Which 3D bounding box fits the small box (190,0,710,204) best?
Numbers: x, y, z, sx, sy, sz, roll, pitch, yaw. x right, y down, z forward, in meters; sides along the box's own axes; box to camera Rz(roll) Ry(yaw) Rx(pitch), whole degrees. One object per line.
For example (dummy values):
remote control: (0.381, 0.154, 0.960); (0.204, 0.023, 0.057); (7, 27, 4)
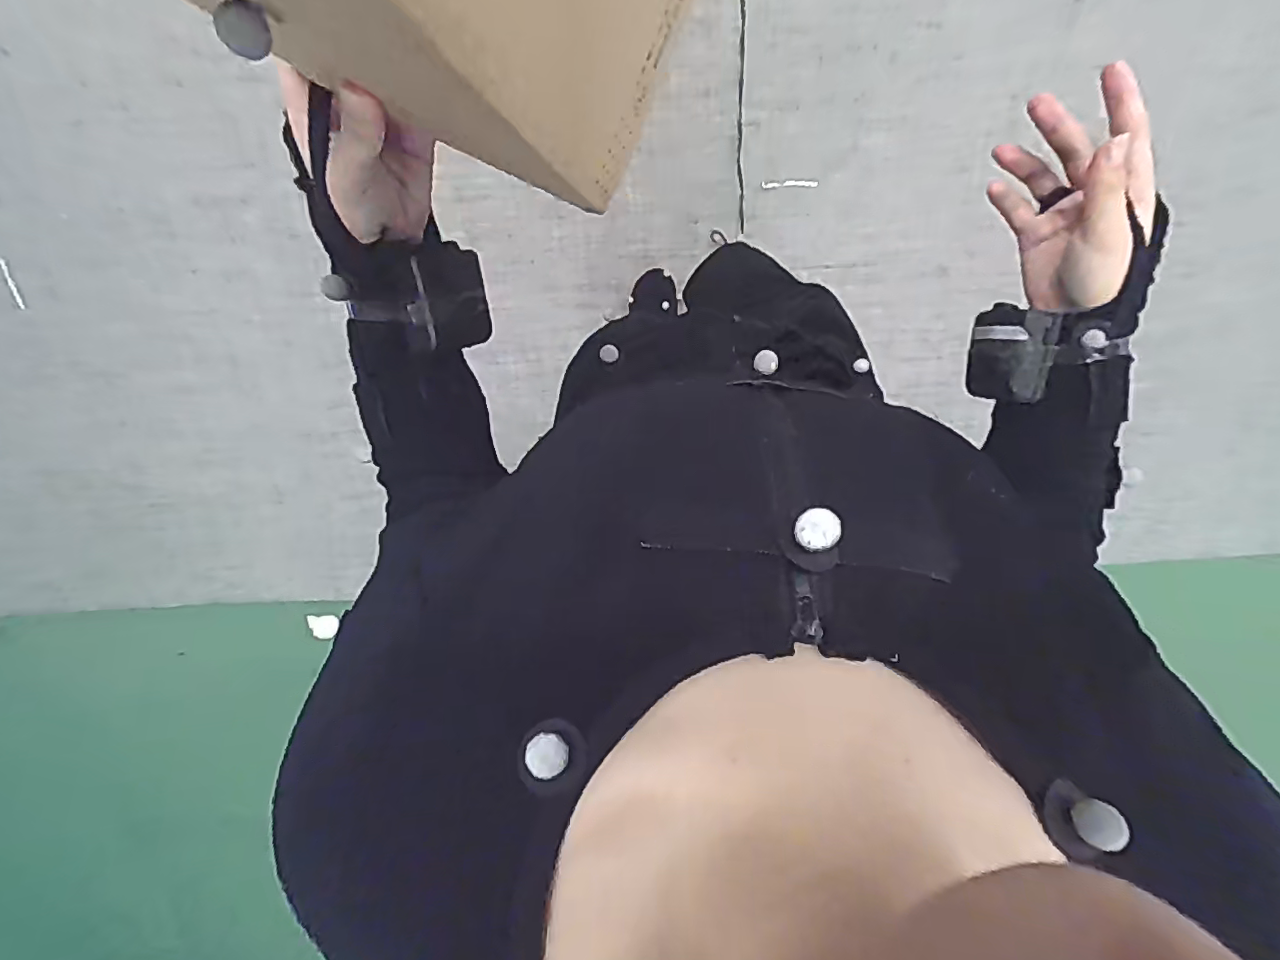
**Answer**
small box: (-0.071, -0.218, 0.176); (0.179, 0.176, 0.168); (27, 107, 6)
